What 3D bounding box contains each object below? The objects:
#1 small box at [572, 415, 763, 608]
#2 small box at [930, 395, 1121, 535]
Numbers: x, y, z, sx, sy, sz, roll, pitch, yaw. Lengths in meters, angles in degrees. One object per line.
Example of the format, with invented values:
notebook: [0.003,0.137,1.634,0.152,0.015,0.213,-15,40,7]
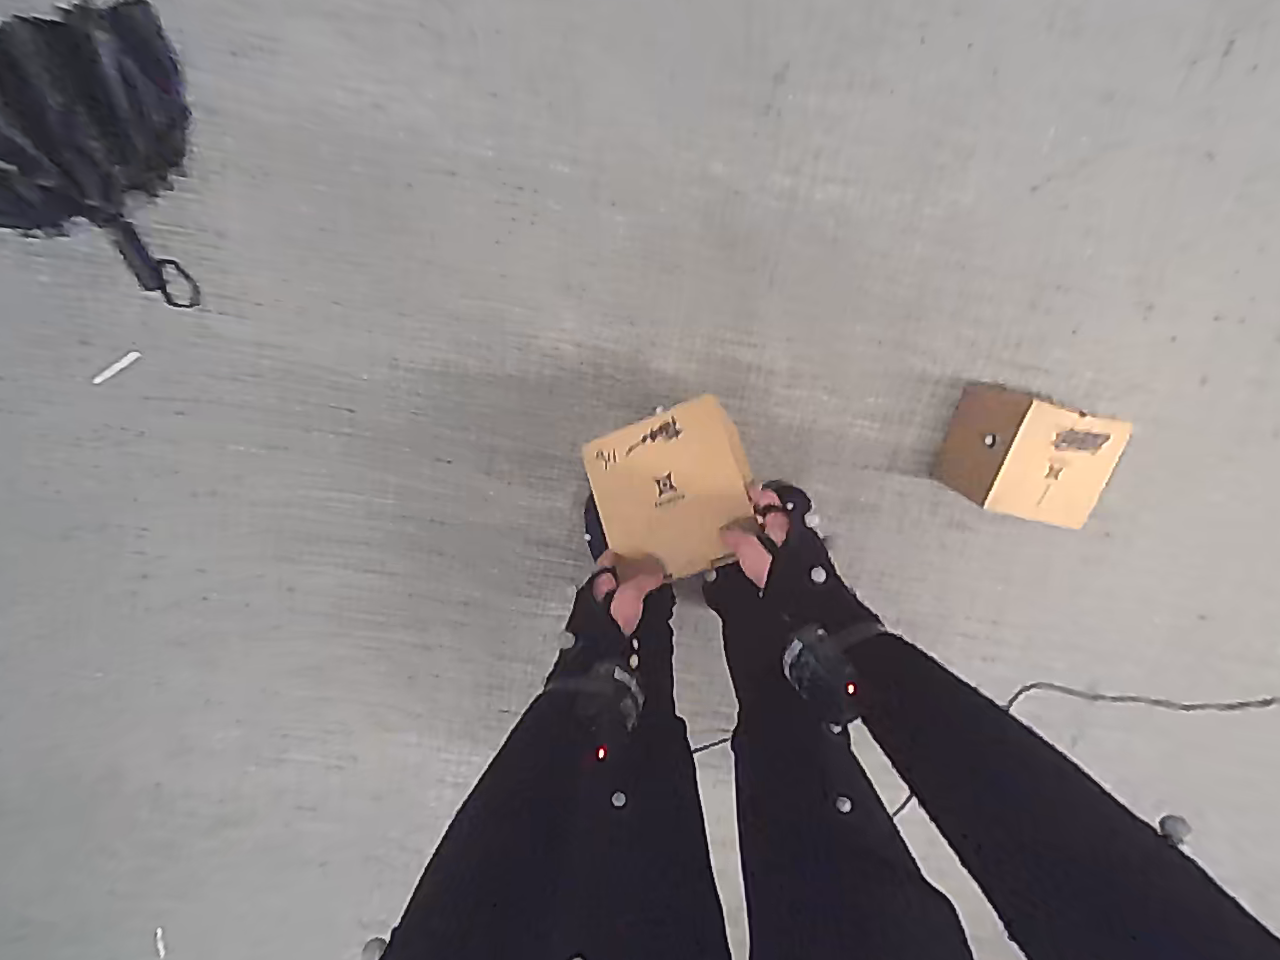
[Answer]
small box: [0.043,0.042,0.674,0.168,0.176,0.179,-22,77,15]
small box: [0.621,-0.034,0.900,0.168,0.176,0.179,12,108,-2]
